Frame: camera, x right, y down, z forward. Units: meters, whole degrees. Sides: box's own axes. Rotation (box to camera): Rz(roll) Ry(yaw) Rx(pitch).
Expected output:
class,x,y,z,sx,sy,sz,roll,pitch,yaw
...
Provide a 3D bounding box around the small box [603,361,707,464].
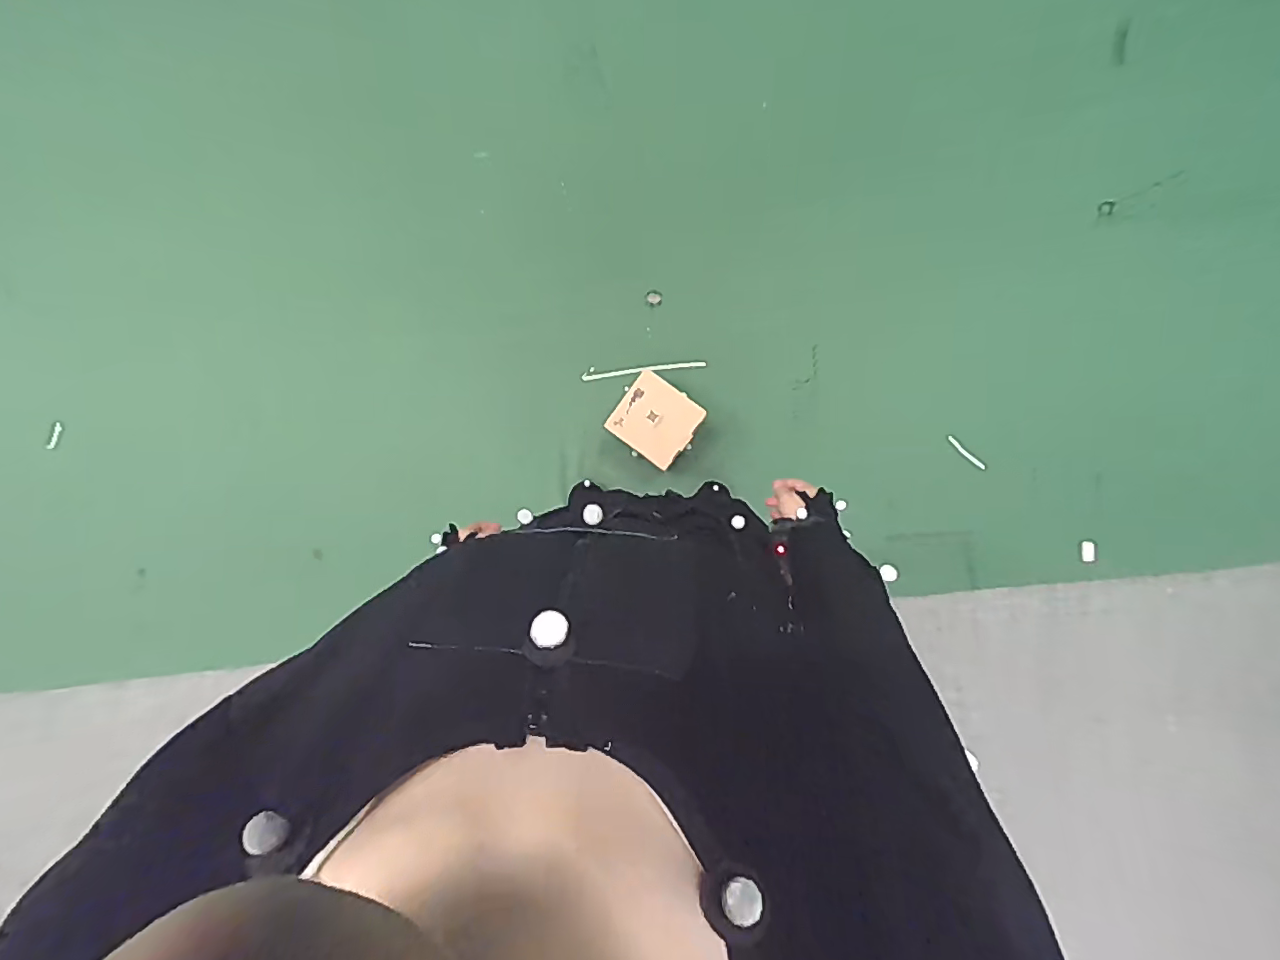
class,x,y,z,sx,sy,sz,roll,pitch,yaw
small box,0.038,-0.155,1.283,0.179,0.176,0.168,37,93,1
